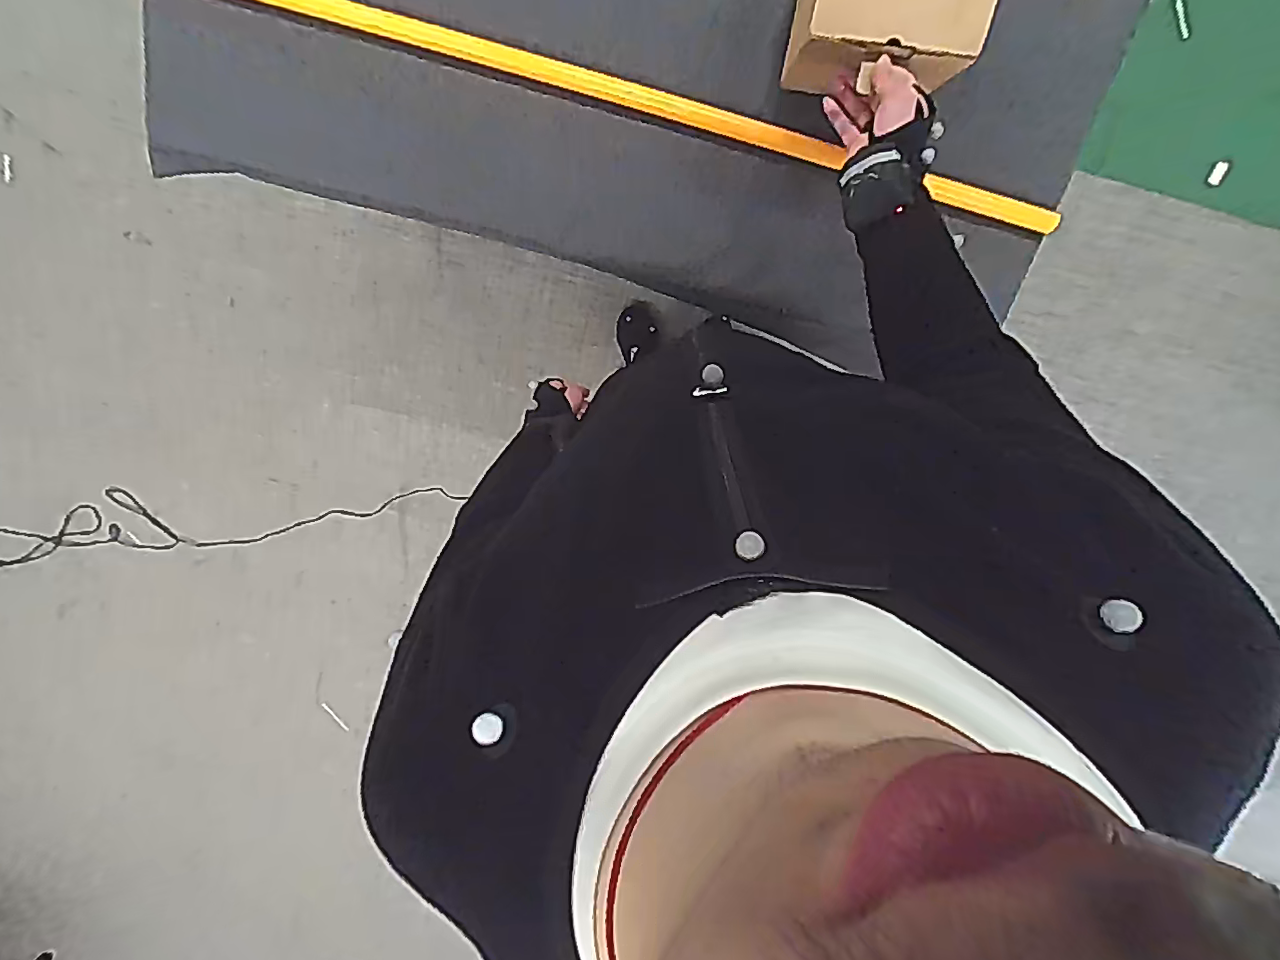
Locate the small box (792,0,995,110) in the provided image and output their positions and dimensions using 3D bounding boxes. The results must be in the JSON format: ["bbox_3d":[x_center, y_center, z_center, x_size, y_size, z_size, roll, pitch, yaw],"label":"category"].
[{"bbox_3d":[0.265,-0.517,0.574,0.168,0.176,0.179,7,112,4],"label":"small box"}]
